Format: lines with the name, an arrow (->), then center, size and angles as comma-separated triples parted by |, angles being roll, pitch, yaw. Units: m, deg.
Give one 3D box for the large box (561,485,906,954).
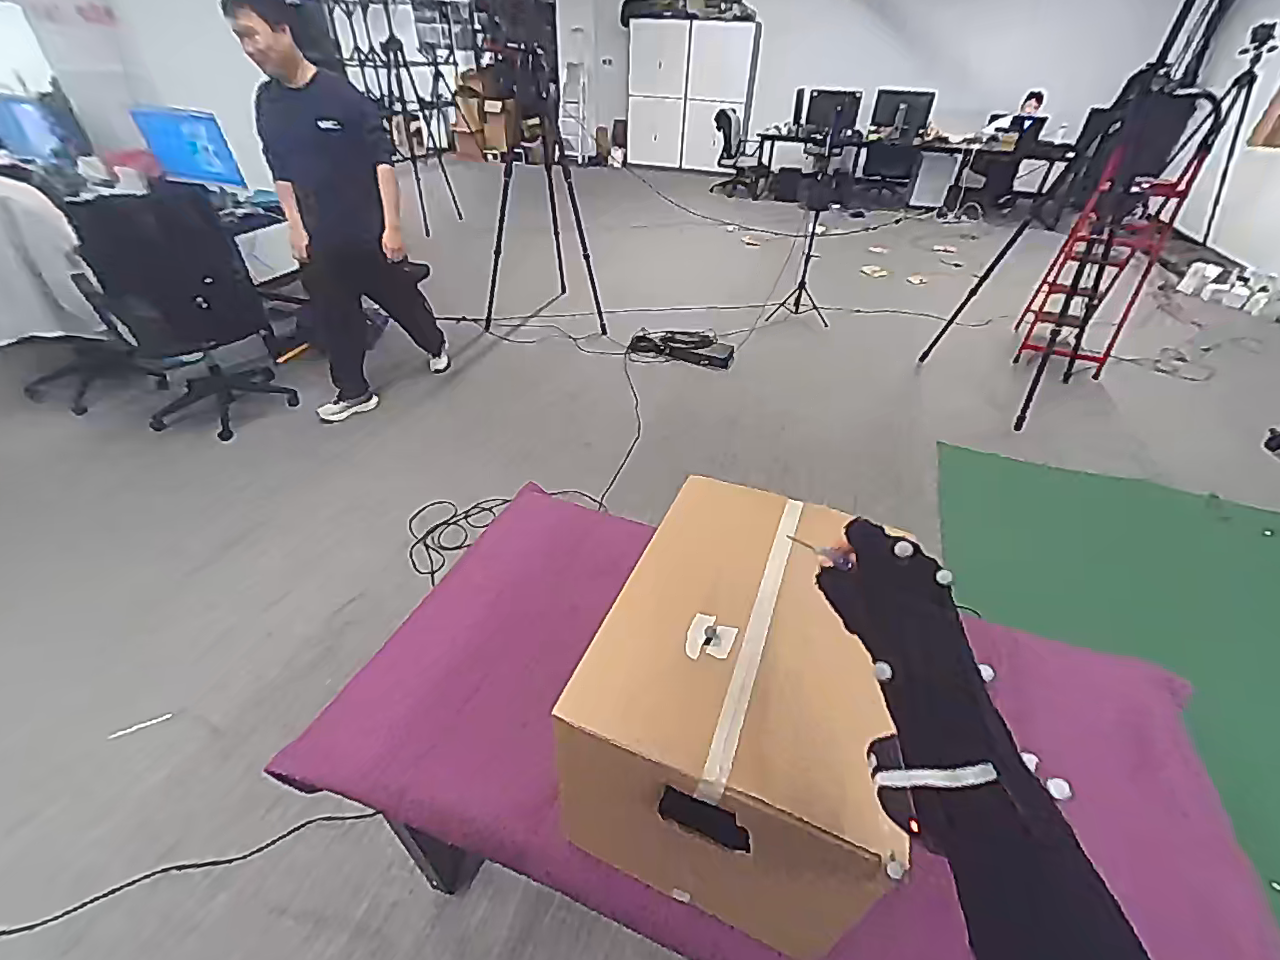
large box -> 0.129, 0.275, 0.706 | 0.320, 0.320, 0.408 | 16, 40, 17
